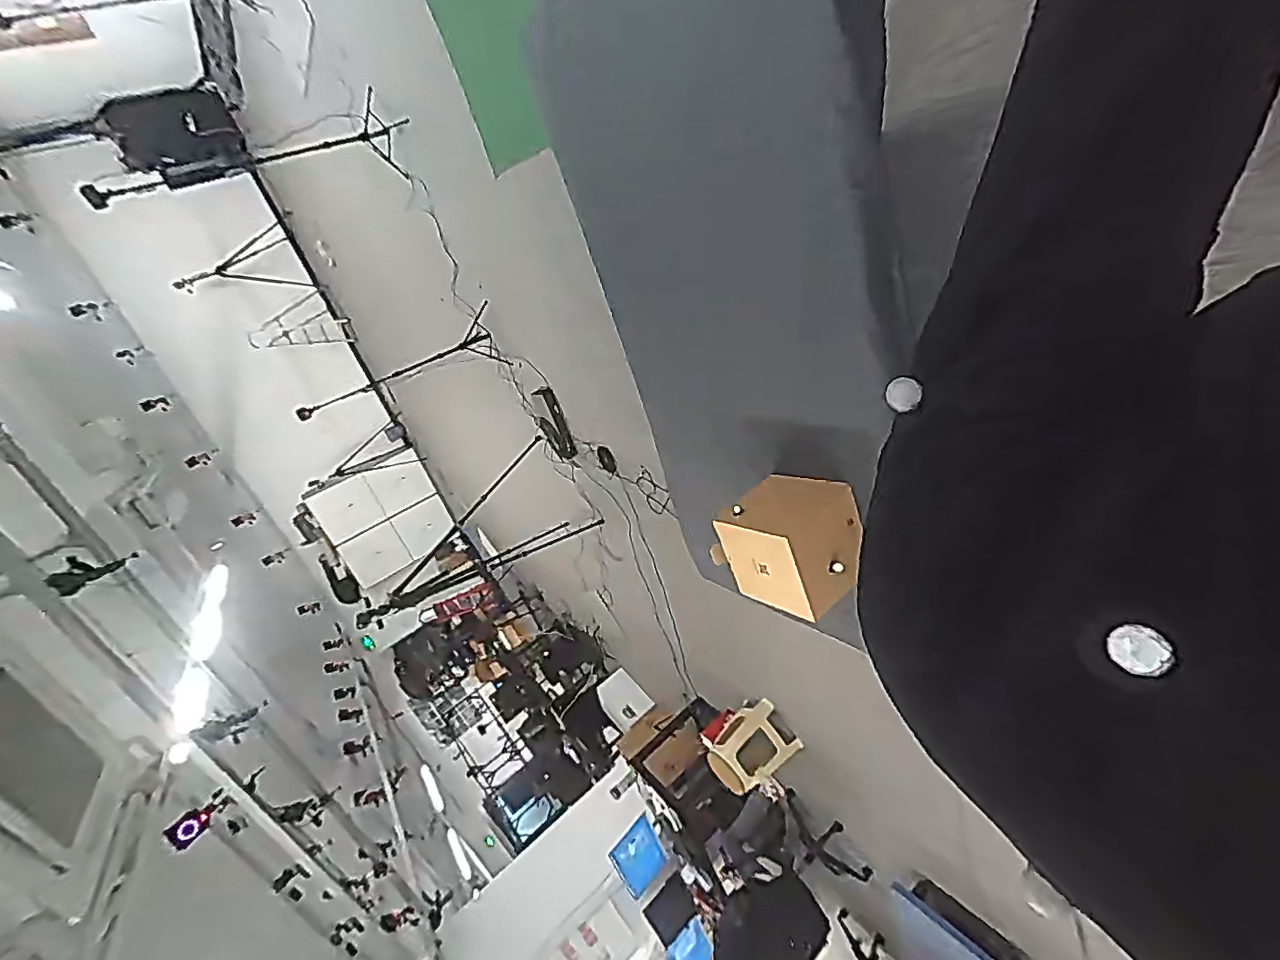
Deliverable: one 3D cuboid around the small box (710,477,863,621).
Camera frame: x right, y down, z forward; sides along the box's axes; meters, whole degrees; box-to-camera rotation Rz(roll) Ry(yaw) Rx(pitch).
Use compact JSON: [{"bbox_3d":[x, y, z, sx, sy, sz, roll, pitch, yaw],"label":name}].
[{"bbox_3d":[0.259,0.107,0.934,0.179,0.176,0.168,9,127,57],"label":"small box"}]
